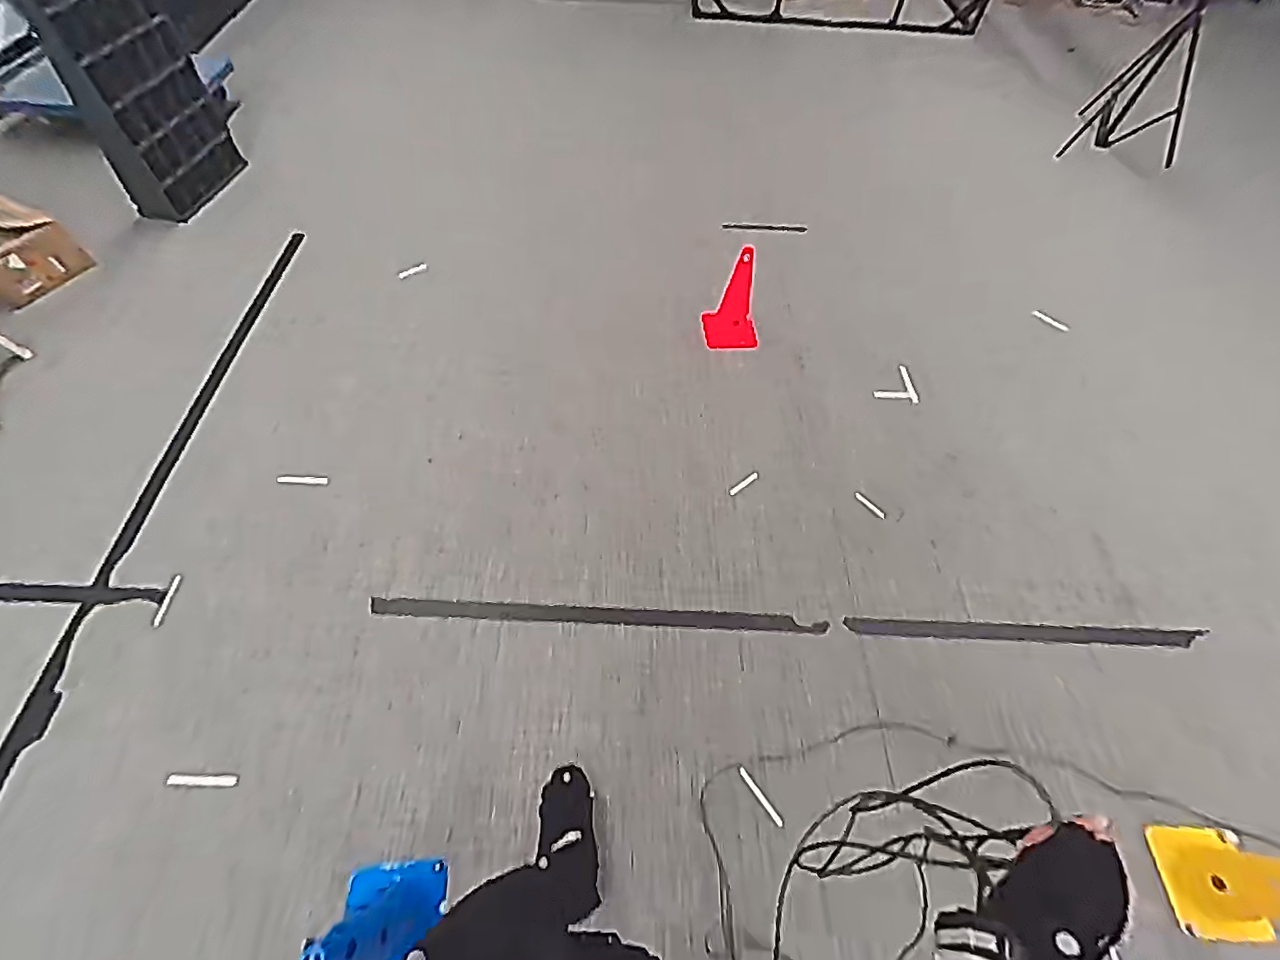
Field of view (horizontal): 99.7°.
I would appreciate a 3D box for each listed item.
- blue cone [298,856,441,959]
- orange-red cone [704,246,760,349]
[{"bbox_3d":[-0.498,0.796,0.956,0.193,0.380,0.192,-2,57,-4],"label":"blue cone"},{"bbox_3d":[0.357,-0.668,1.936,0.199,0.360,0.198,-2,57,-3],"label":"orange-red cone"}]
